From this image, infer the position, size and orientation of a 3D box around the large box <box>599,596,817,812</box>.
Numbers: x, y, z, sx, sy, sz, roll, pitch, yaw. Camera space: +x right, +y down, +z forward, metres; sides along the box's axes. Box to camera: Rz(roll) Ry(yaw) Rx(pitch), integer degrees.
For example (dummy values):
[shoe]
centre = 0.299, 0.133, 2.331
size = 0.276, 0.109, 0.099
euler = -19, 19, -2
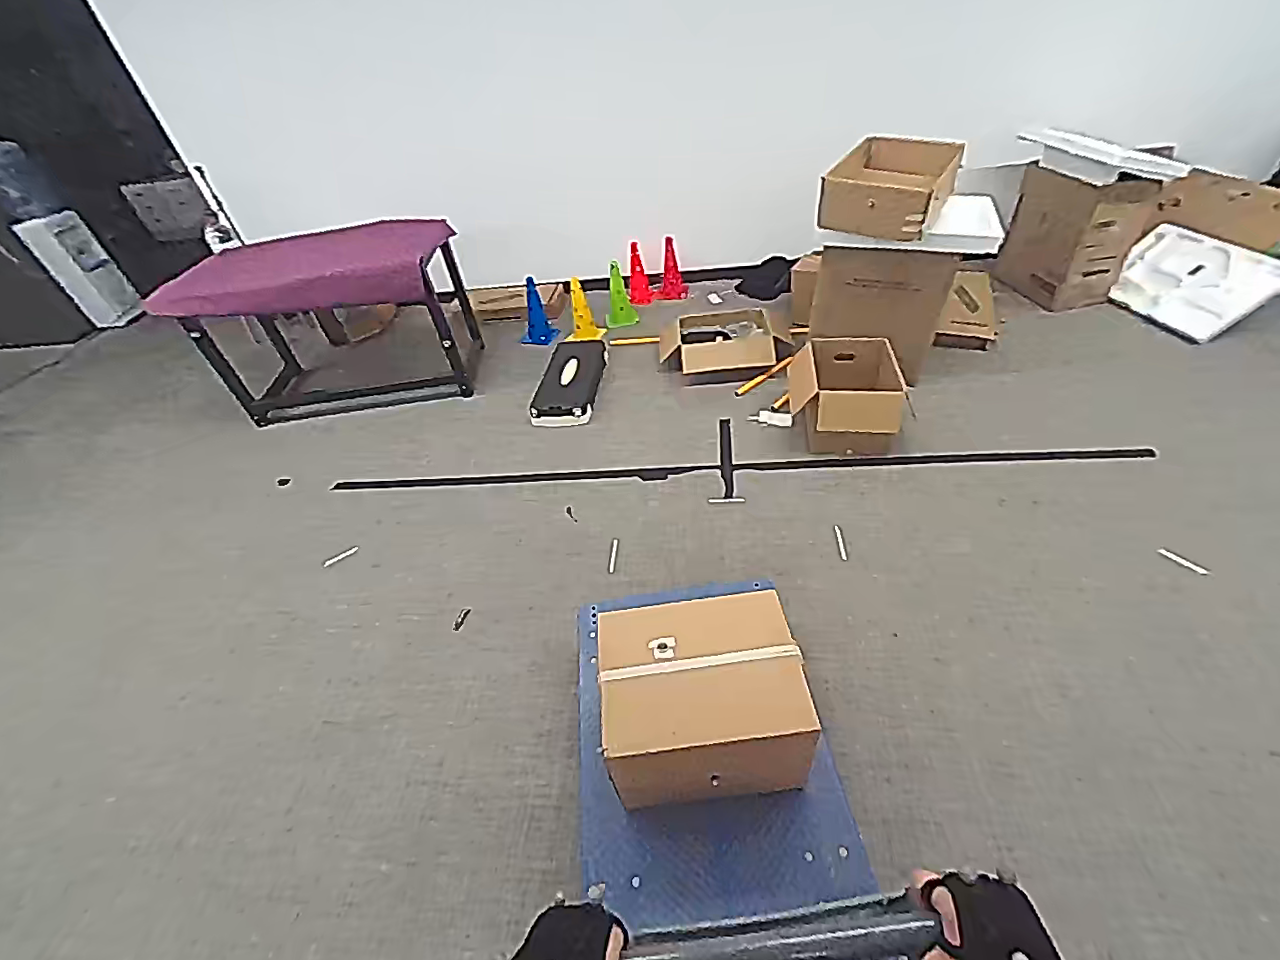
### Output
[large box]
centre = 0.139, 0.503, 1.209
size = 0.408, 0.320, 0.320
euler = -9, 42, 1
